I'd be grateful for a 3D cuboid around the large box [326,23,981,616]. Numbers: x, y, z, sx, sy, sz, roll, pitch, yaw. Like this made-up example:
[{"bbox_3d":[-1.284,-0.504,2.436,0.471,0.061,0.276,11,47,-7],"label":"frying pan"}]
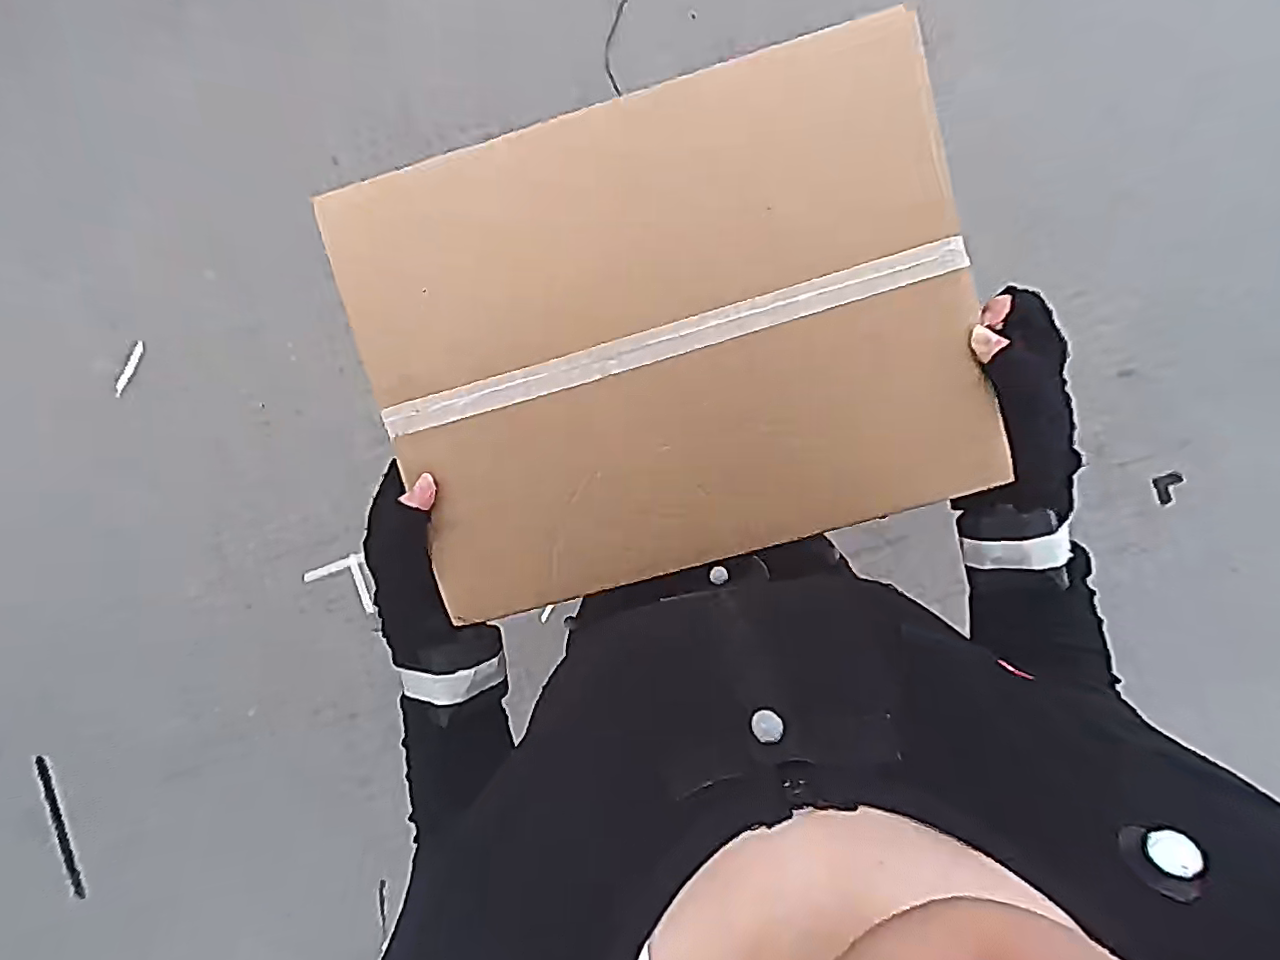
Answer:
[{"bbox_3d":[0.018,-0.116,0.526,0.408,0.320,0.320,-16,95,4],"label":"large box"}]
